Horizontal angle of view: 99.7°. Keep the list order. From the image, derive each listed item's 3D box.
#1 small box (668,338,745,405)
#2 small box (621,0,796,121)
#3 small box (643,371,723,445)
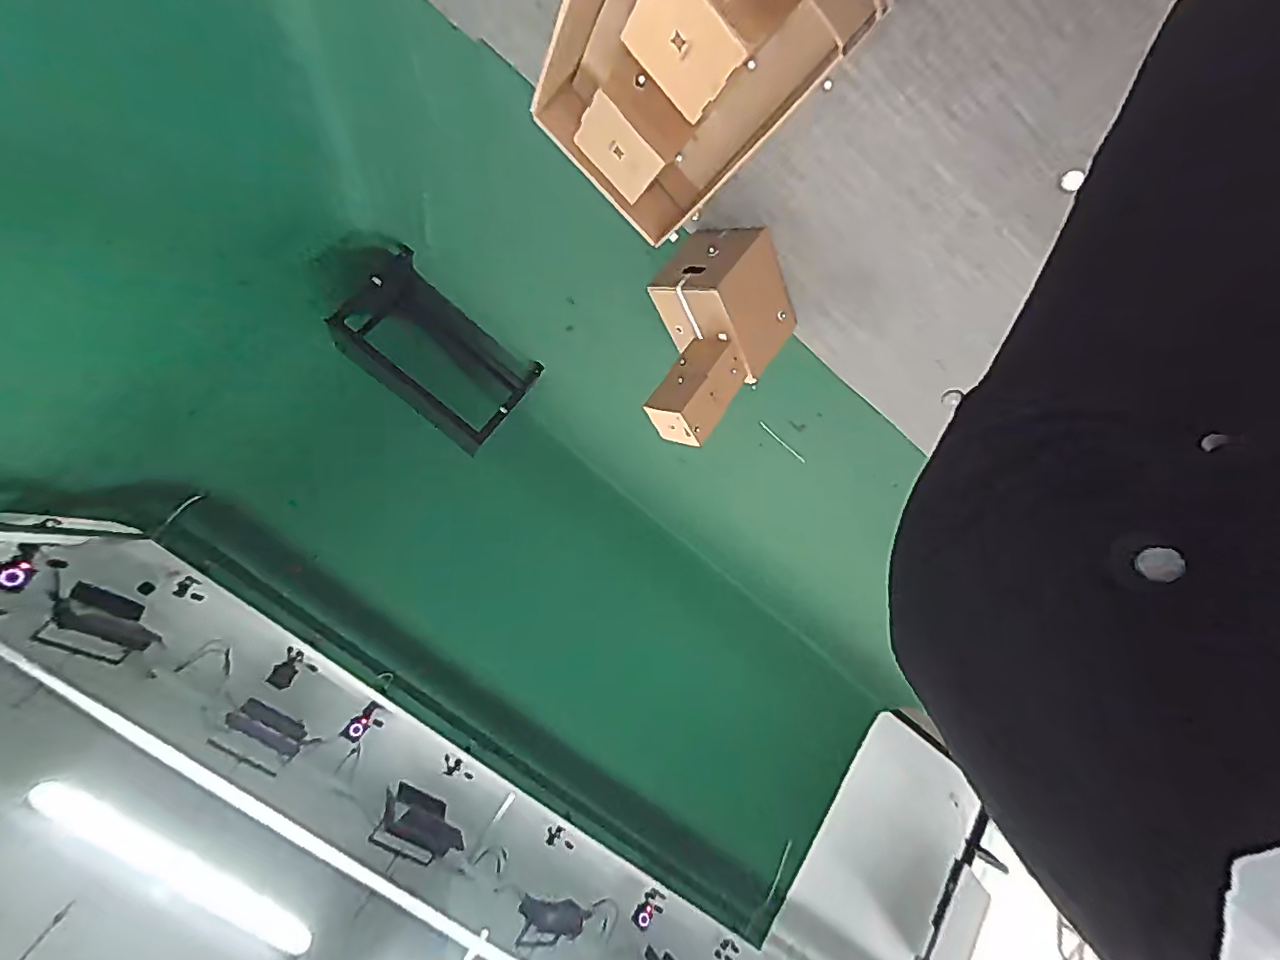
[{"bbox_3d":[0.233,-0.375,1.875,0.179,0.176,0.168,18,155,42],"label":"small box"},{"bbox_3d":[0.108,-0.730,0.848,0.179,0.176,0.168,40,162,-18],"label":"small box"},{"bbox_3d":[0.149,-0.246,1.818,0.179,0.176,0.168,19,155,43],"label":"small box"}]
